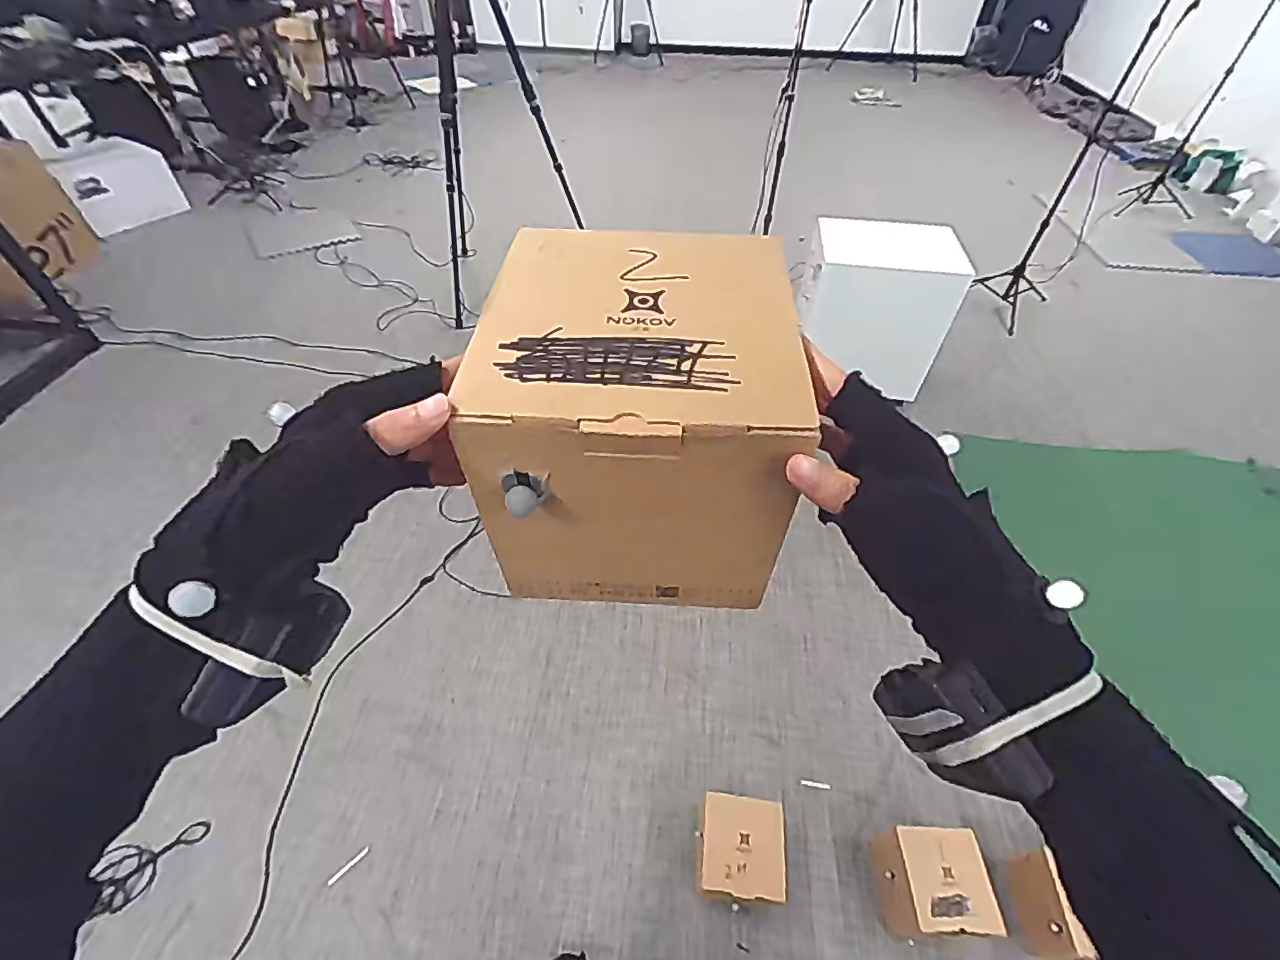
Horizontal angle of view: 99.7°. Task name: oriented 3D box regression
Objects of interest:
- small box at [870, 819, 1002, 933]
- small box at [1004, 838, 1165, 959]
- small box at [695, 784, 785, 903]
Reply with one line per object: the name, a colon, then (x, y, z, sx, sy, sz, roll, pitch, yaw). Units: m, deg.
small box: (0.610, 0.836, 1.140, 0.168, 0.176, 0.179, 3, 47, 0)
small box: (0.900, 0.870, 1.119, 0.168, 0.176, 0.179, 5, 48, 4)
small box: (0.211, 0.787, 1.169, 0.168, 0.176, 0.179, 6, 48, 5)
